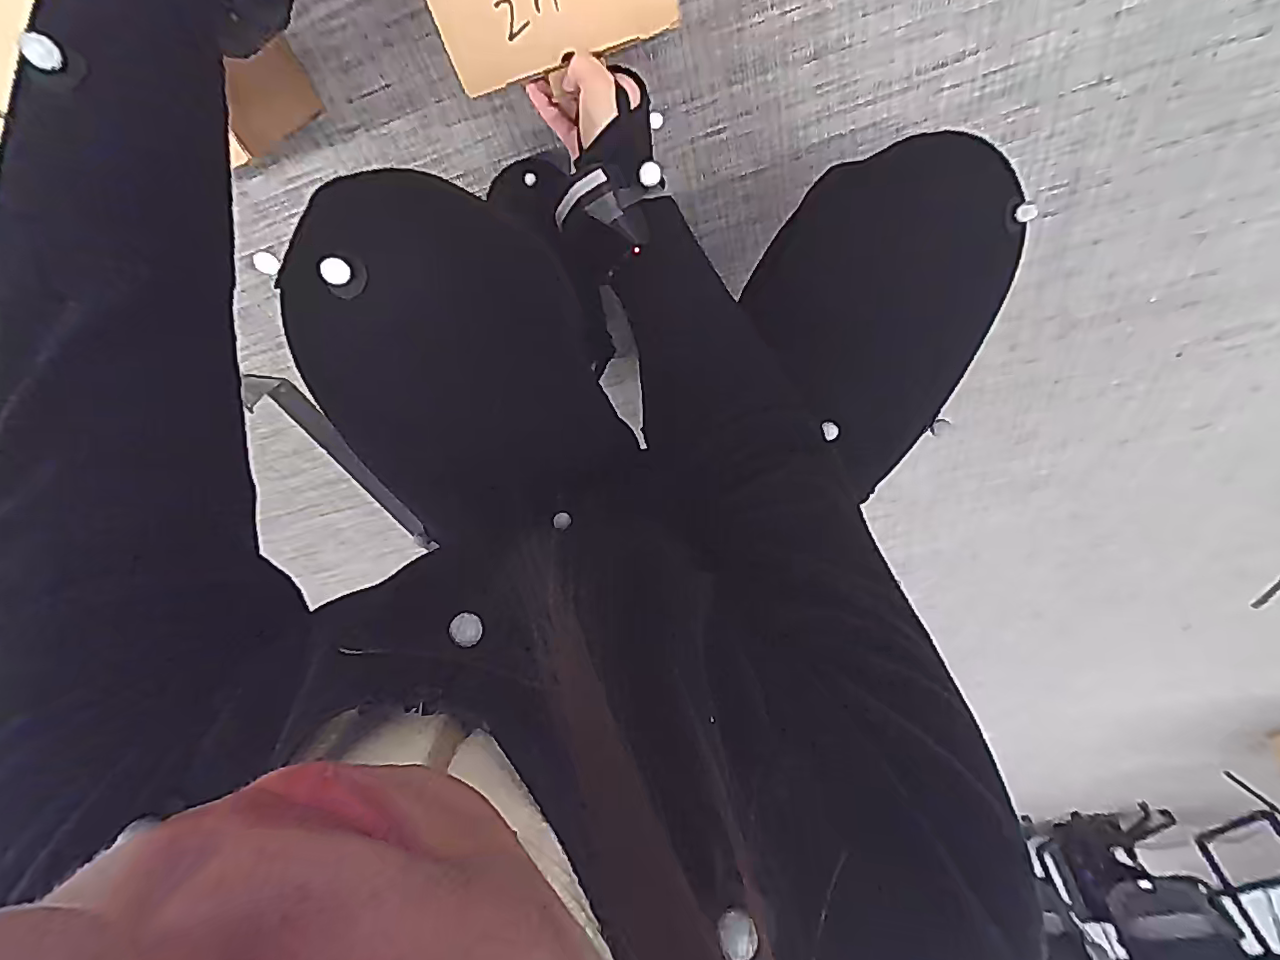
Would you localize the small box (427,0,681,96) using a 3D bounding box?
[{"bbox_3d":[-0.074,-0.411,0.379,0.168,0.176,0.179,-11,137,9],"label":"small box"}]

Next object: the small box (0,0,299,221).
[{"bbox_3d":[-0.411,-0.343,0.431,0.179,0.176,0.168,-13,137,8],"label":"small box"}]
